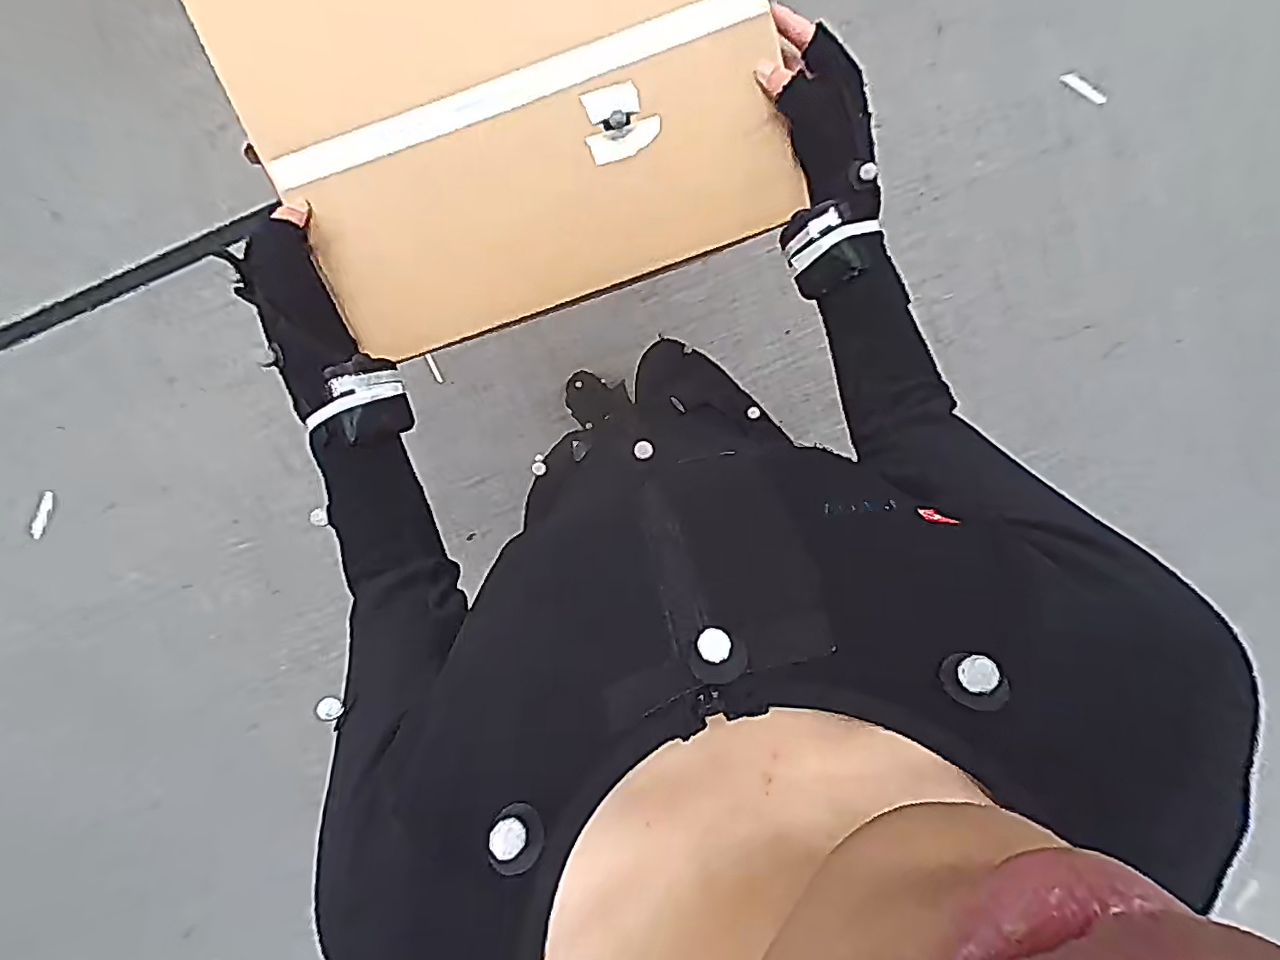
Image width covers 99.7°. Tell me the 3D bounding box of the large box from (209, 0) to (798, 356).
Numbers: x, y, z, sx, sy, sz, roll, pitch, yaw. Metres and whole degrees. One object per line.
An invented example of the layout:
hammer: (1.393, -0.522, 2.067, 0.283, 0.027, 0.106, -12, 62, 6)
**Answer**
large box: (-0.108, -0.354, 0.577, 0.408, 0.320, 0.320, -20, 109, 0)
